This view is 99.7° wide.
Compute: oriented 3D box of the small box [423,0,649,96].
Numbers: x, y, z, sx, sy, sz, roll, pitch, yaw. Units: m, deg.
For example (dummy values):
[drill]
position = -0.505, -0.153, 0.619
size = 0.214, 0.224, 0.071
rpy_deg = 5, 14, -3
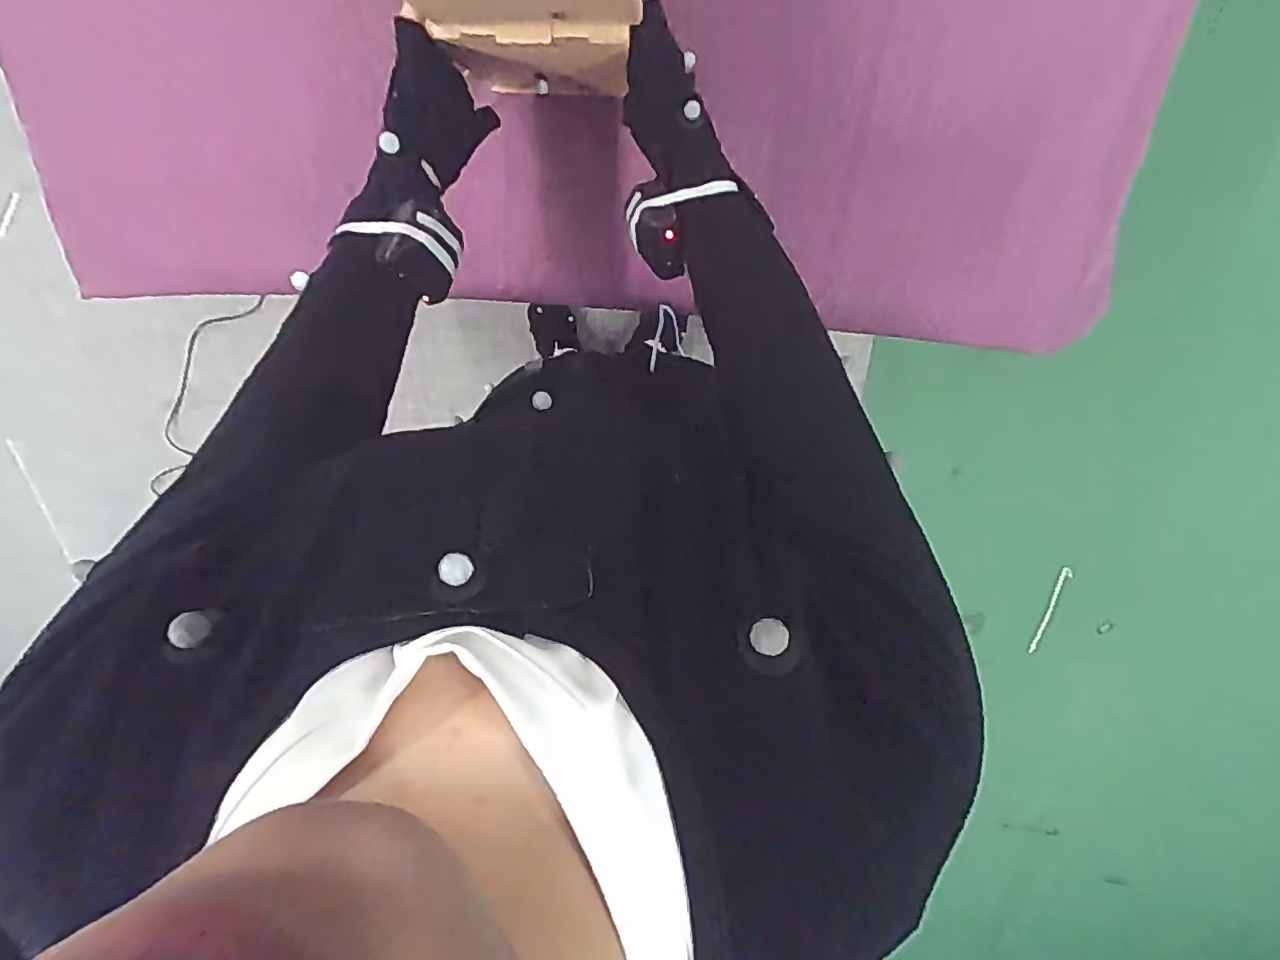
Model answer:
[small box]
position = -0.078, -0.457, 0.462
size = 0.168, 0.176, 0.179
rpy_deg = 5, 115, 3
